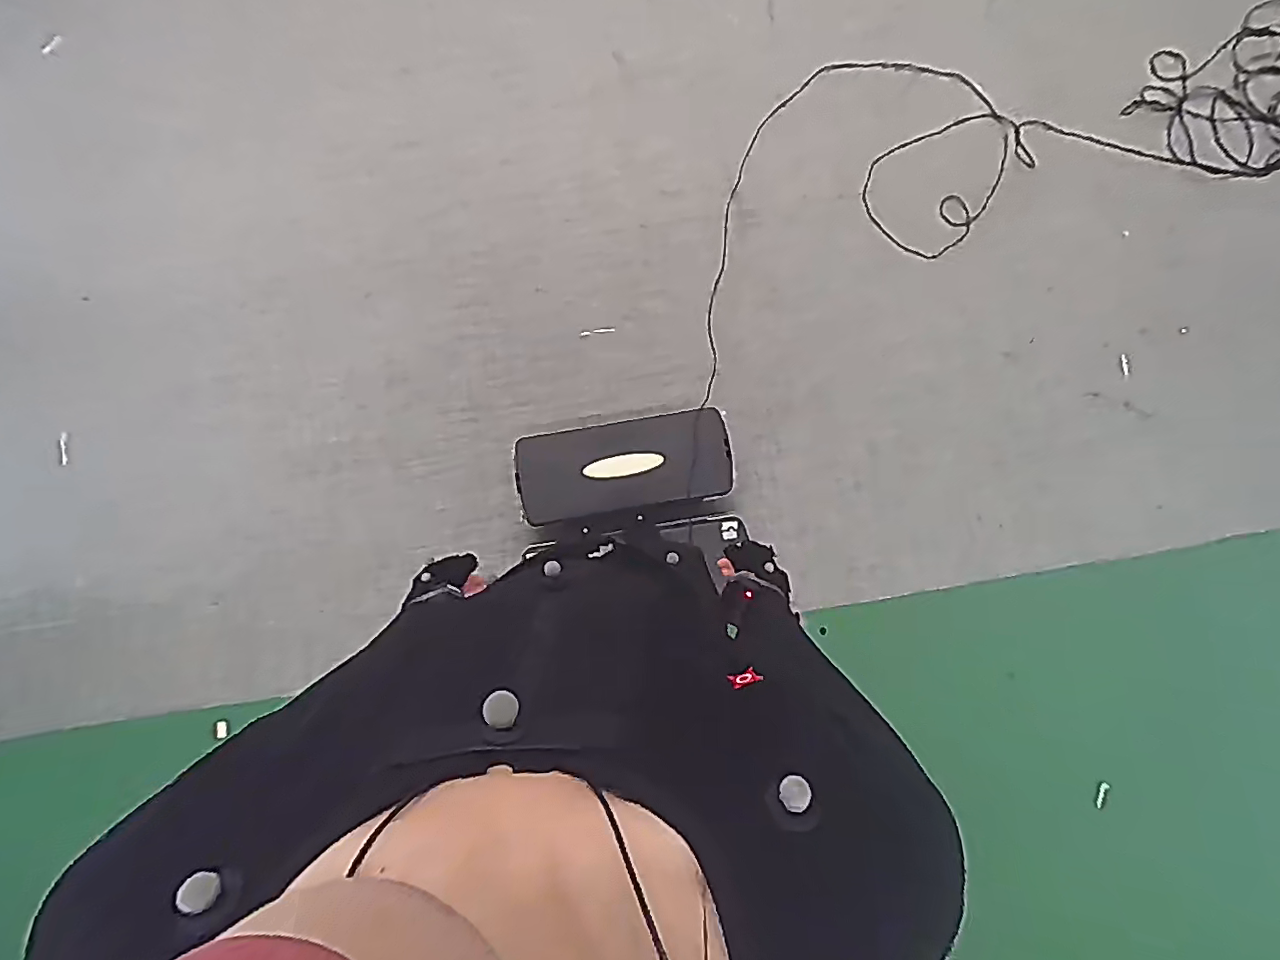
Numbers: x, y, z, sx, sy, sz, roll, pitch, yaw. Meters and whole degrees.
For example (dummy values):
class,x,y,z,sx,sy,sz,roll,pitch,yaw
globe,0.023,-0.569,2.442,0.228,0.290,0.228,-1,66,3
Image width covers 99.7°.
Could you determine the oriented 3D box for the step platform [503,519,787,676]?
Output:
class,x,y,z,sx,sy,sz,roll,pitch,yaw
step platform,0.010,0.291,1.392,0.684,0.204,0.286,-9,85,-2
